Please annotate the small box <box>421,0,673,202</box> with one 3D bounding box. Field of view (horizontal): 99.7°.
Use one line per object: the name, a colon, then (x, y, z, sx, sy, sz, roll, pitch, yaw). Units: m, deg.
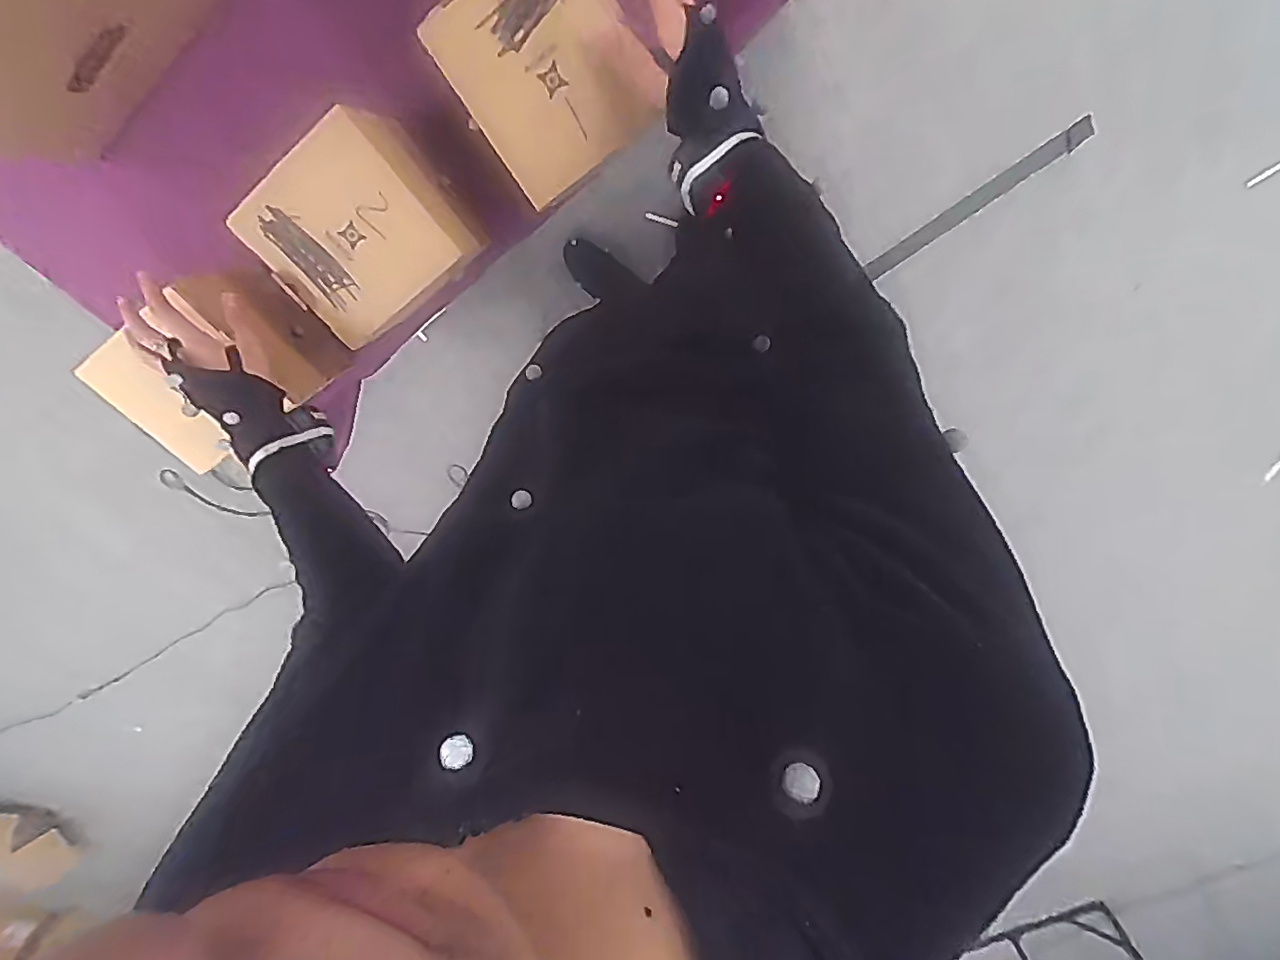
small box: (-0.086, -0.420, 0.564, 0.168, 0.176, 0.179, -31, 117, 14)
